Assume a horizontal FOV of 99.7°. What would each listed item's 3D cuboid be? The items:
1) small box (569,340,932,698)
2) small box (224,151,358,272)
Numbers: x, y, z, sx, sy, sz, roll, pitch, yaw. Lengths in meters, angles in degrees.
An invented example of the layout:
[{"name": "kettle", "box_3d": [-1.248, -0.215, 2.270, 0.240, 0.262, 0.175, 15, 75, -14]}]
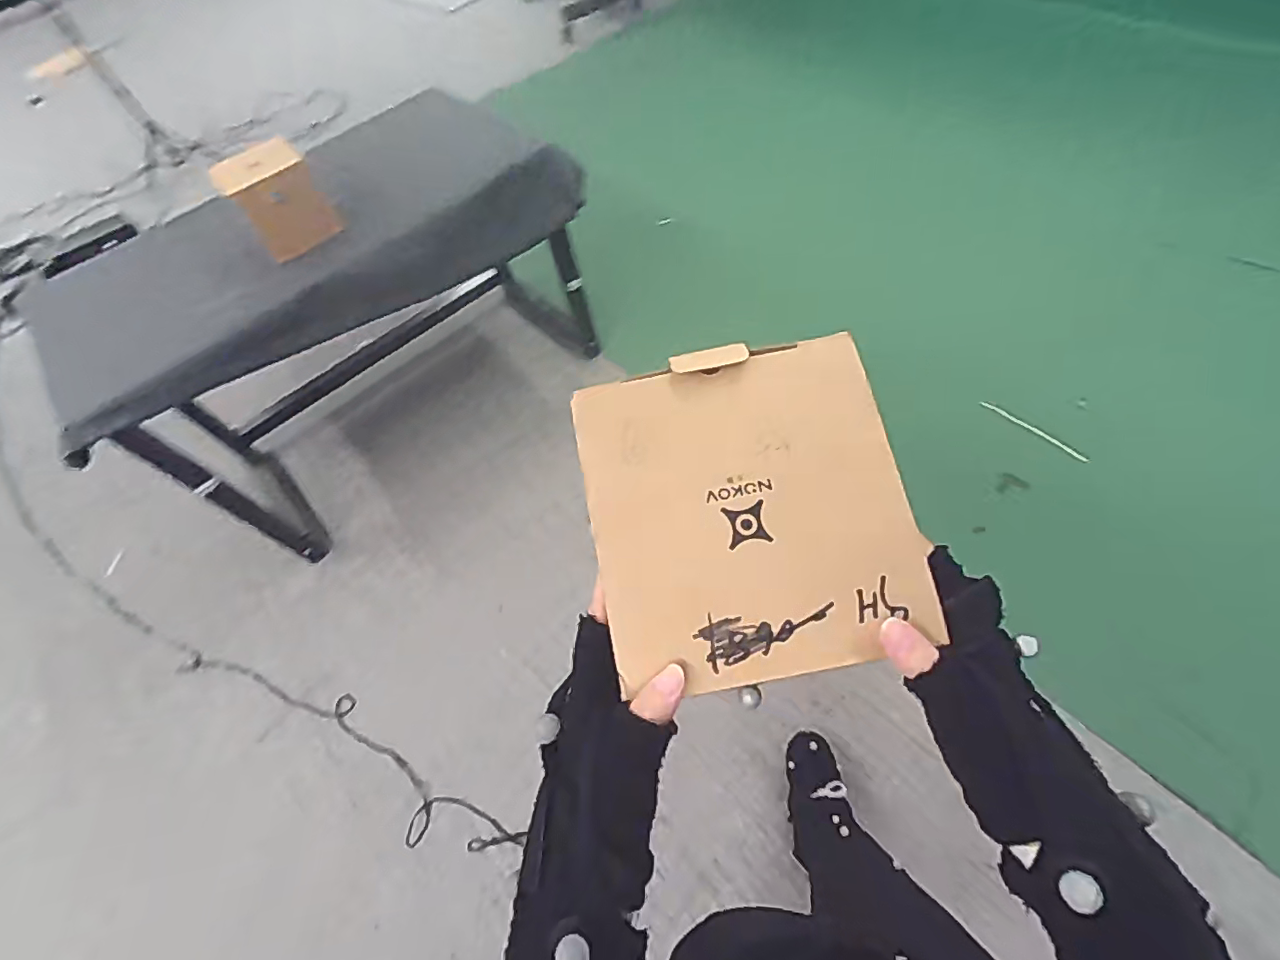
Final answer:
[{"name": "small box", "box_3d": [0.059, 0.035, 0.379, 0.168, 0.176, 0.179, -15, 75, 0]}, {"name": "small box", "box_3d": [-0.799, -0.616, 1.251, 0.179, 0.176, 0.168, -38, 60, -16]}]
